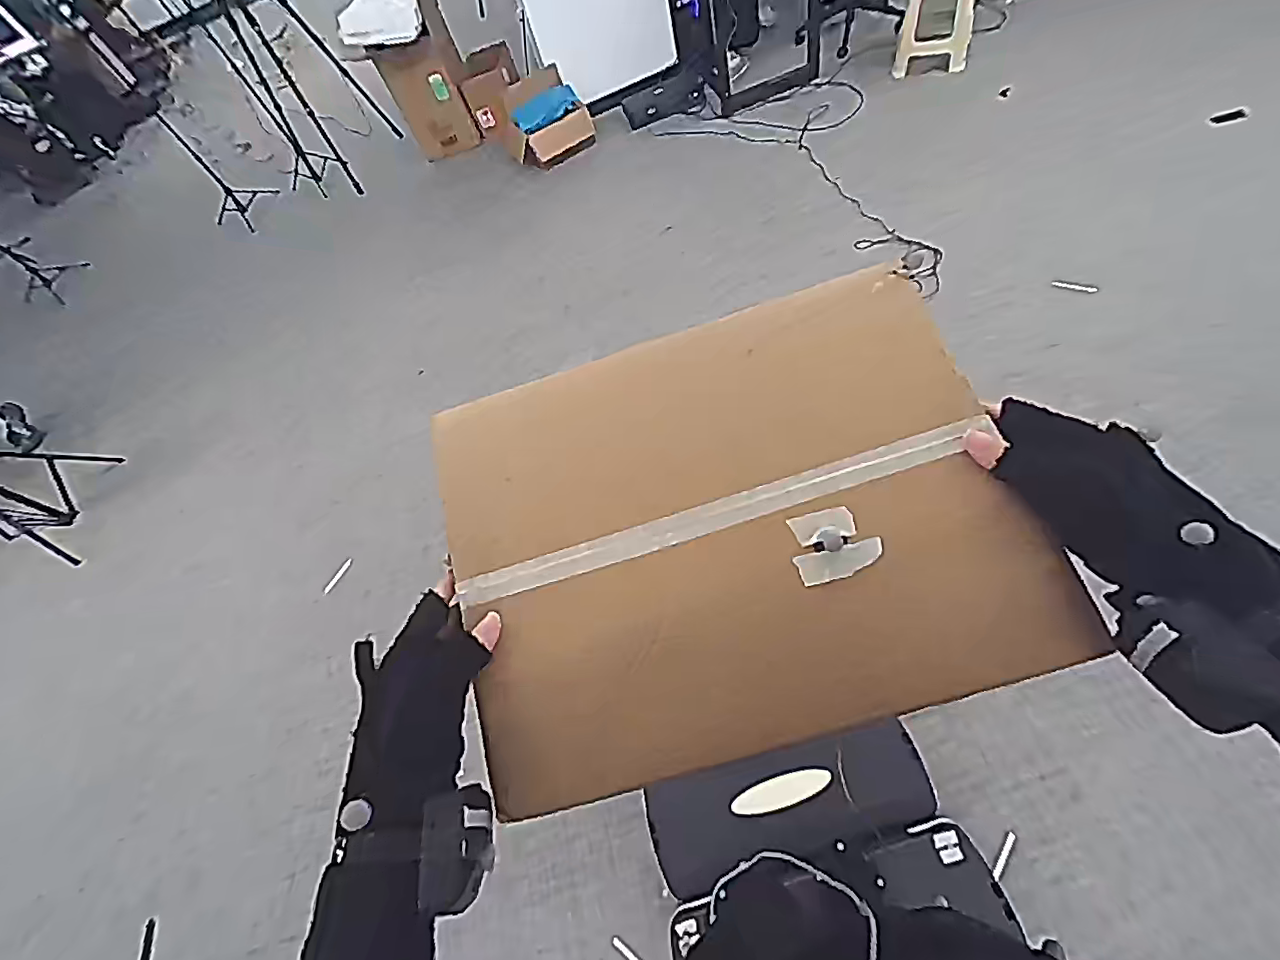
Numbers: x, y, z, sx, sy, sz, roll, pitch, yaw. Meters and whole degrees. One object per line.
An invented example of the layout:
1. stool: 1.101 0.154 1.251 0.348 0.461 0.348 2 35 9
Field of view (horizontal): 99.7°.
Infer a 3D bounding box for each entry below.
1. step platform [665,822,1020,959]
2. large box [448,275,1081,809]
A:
1. step platform: 0.398 0.976 1.126 0.684 0.204 0.286 -23 55 4
2. large box: 0.082 0.074 0.550 0.408 0.320 0.320 -18 71 4
